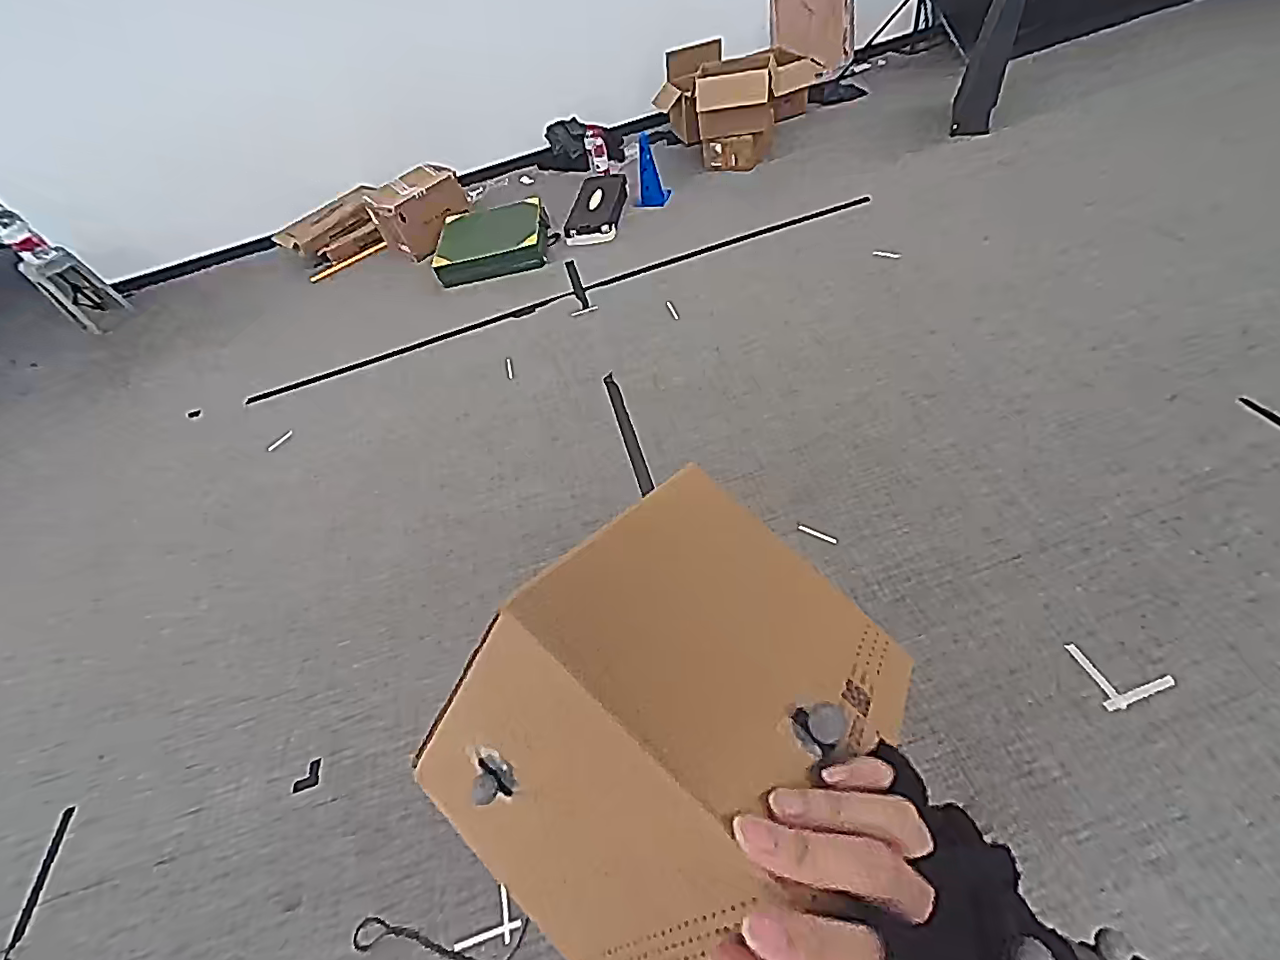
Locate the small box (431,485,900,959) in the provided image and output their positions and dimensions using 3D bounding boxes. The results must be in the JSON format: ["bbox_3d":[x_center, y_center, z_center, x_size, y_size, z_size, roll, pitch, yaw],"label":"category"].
[{"bbox_3d":[0.013,0.141,0.316,0.176,0.179,0.168,41,37,10],"label":"small box"}]
